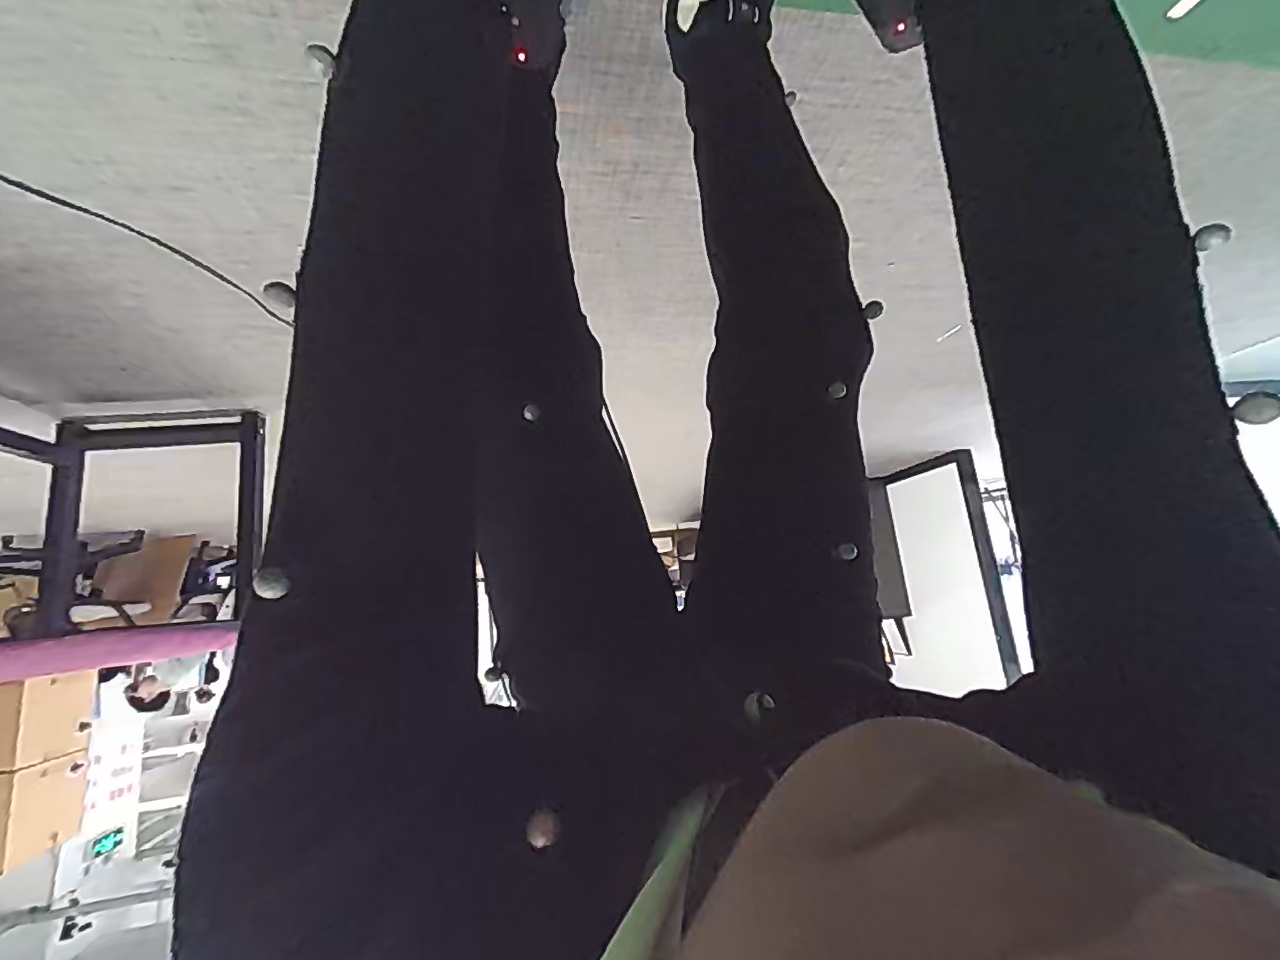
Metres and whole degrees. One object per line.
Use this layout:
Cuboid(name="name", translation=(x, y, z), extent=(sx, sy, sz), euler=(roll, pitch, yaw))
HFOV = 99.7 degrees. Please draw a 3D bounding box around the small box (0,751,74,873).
Cuboid(name="small box", translation=(-1.205, 0.615, 0.996), extent=(0.179, 0.176, 0.168), euler=(-3, 168, -10))
